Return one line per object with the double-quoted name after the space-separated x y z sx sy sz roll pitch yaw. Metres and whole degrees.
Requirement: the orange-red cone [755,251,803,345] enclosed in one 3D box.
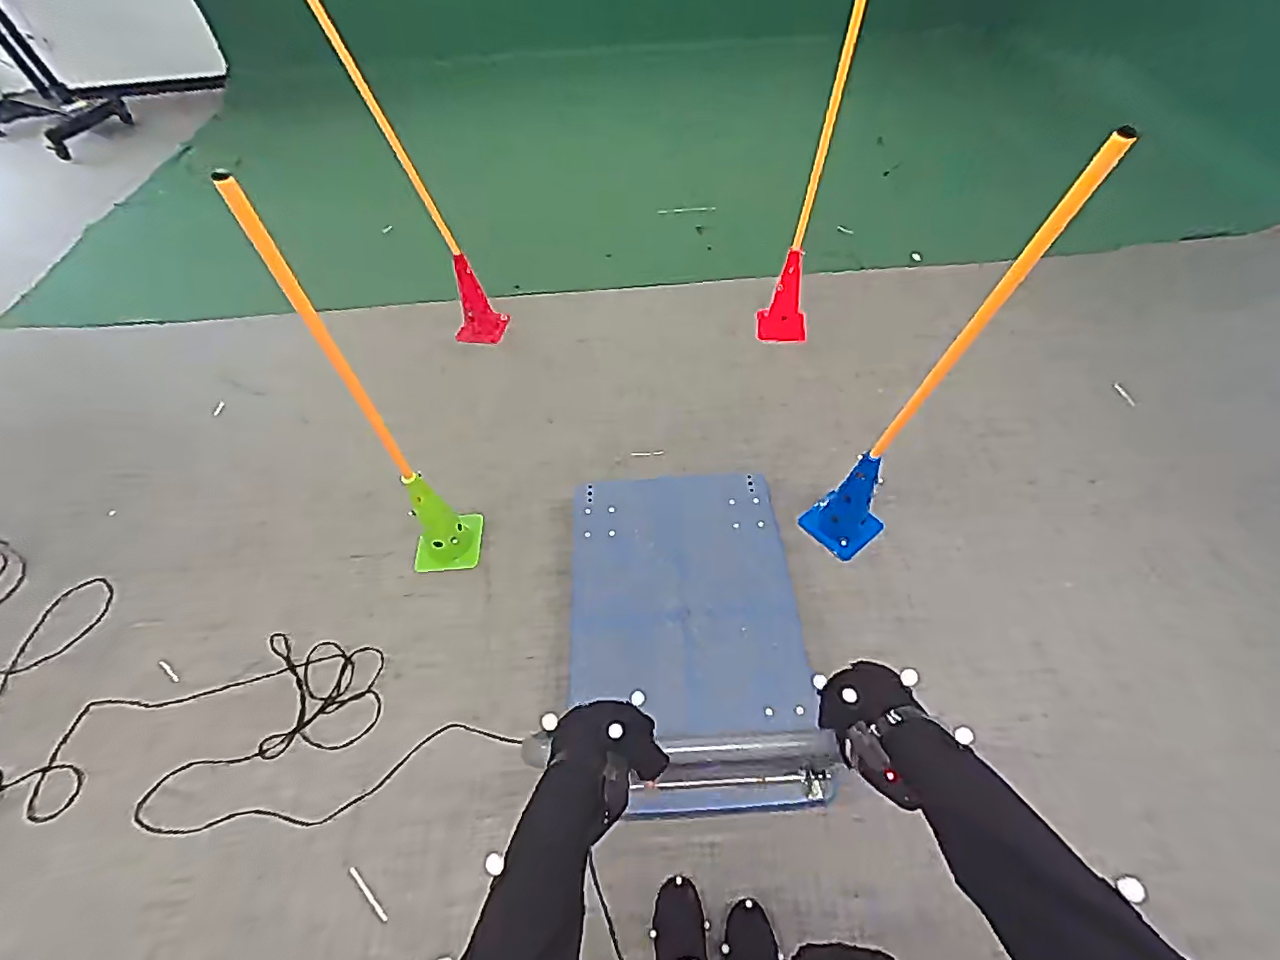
0.581 -0.739 2.162 0.198 0.360 0.199 4 55 7 "orange-red cone"
